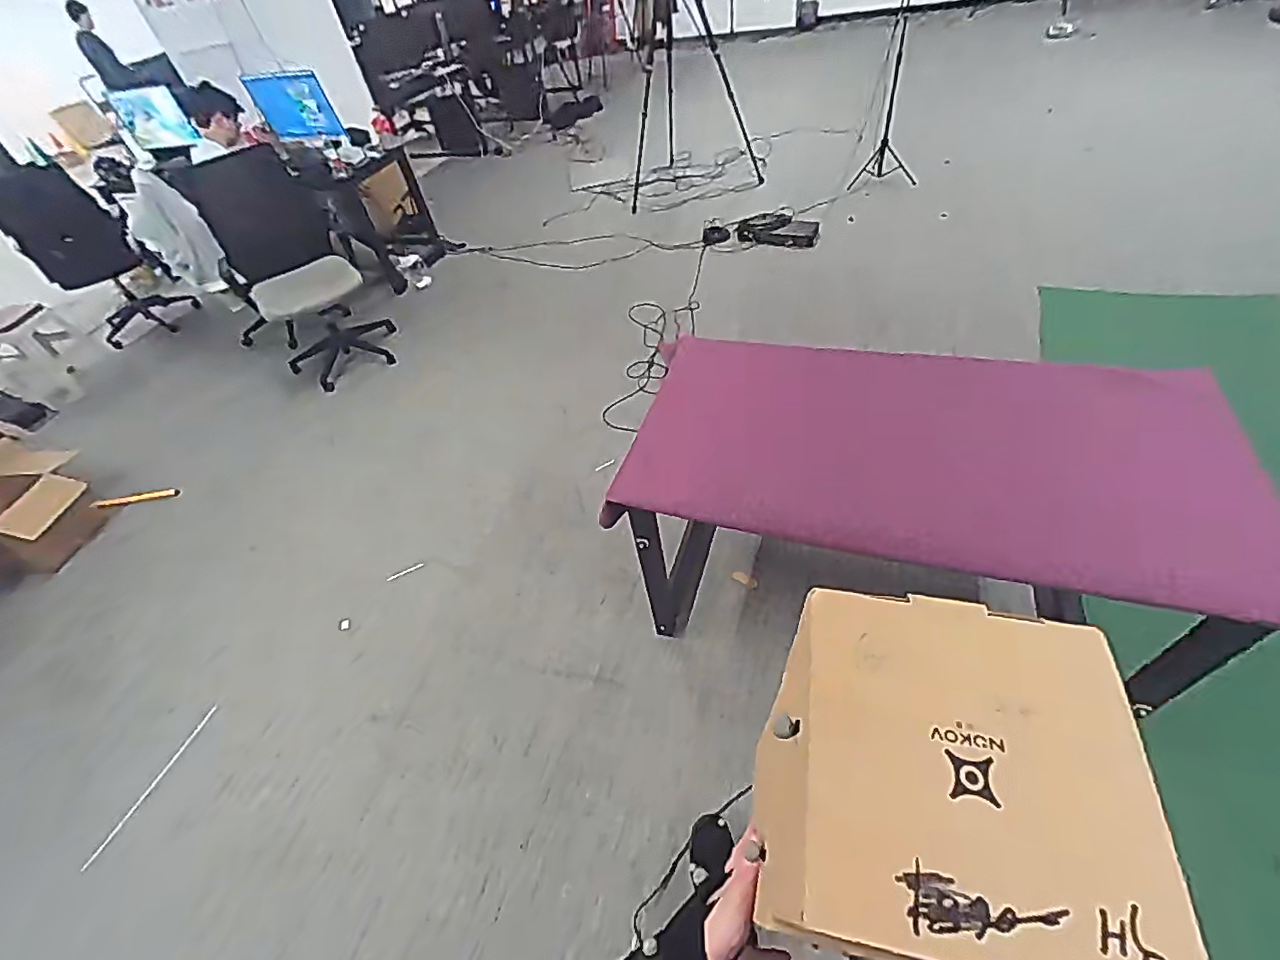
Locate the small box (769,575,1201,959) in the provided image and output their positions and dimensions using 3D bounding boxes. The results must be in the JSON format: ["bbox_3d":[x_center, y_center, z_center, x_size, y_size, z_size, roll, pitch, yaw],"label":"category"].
[{"bbox_3d":[0.175,0.186,0.343,0.168,0.176,0.179,6,53,12],"label":"small box"}]

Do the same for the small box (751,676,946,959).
[{"bbox_3d":[0.189,0.293,0.467,0.168,0.176,0.179,7,53,13],"label":"small box"}]
